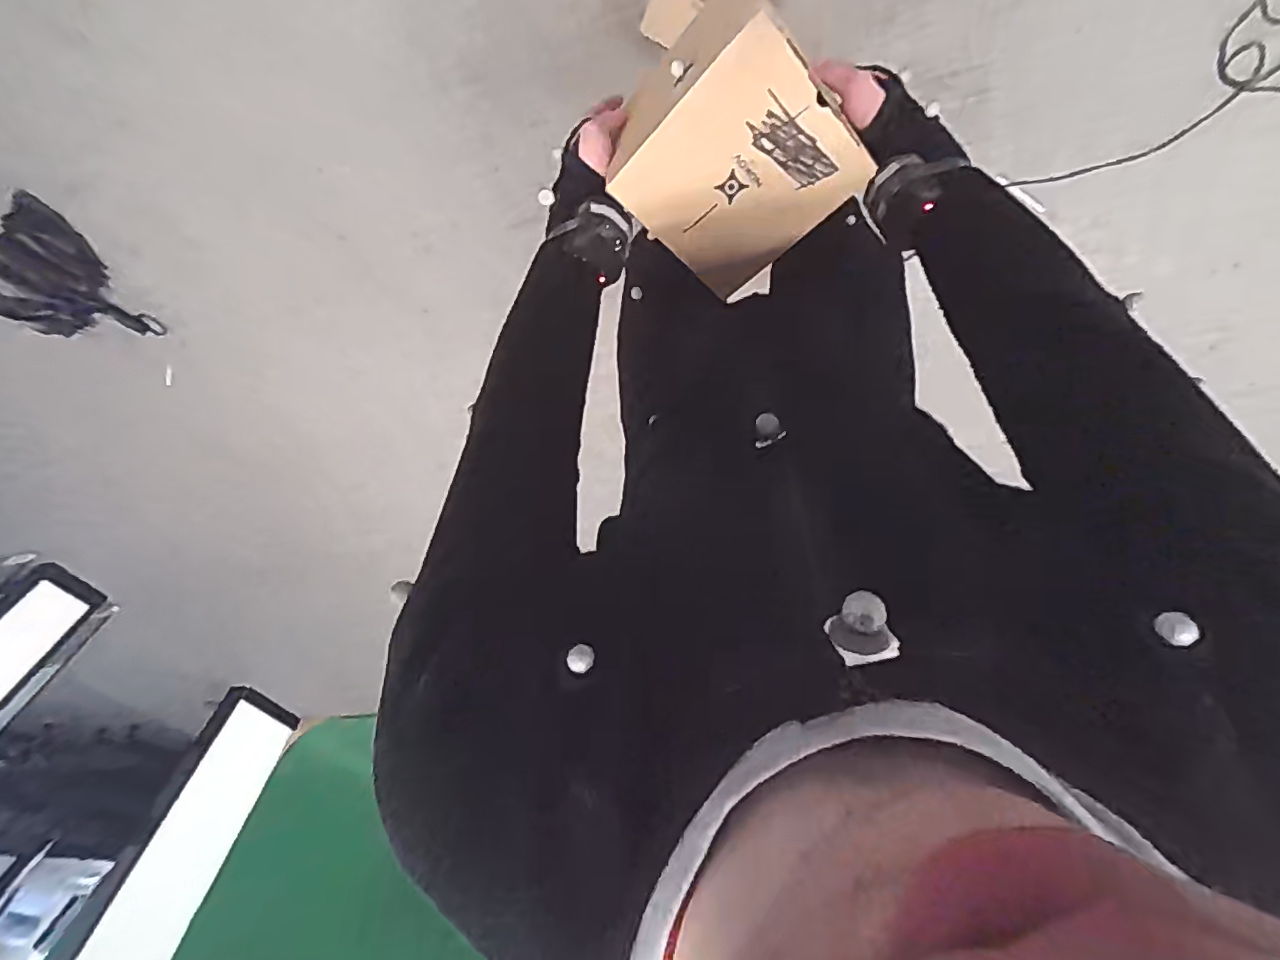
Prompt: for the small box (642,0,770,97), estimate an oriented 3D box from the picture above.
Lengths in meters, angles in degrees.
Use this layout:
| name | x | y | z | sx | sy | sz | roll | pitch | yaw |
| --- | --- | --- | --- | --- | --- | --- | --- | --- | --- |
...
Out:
| name | x | y | z | sx | sy | sz | roll | pitch | yaw |
| --- | --- | --- | --- | --- | --- | --- | --- | --- | --- |
| small box | 0.120 | -0.829 | 0.961 | 0.168 | 0.176 | 0.179 | 23 | 130 | -14 |
